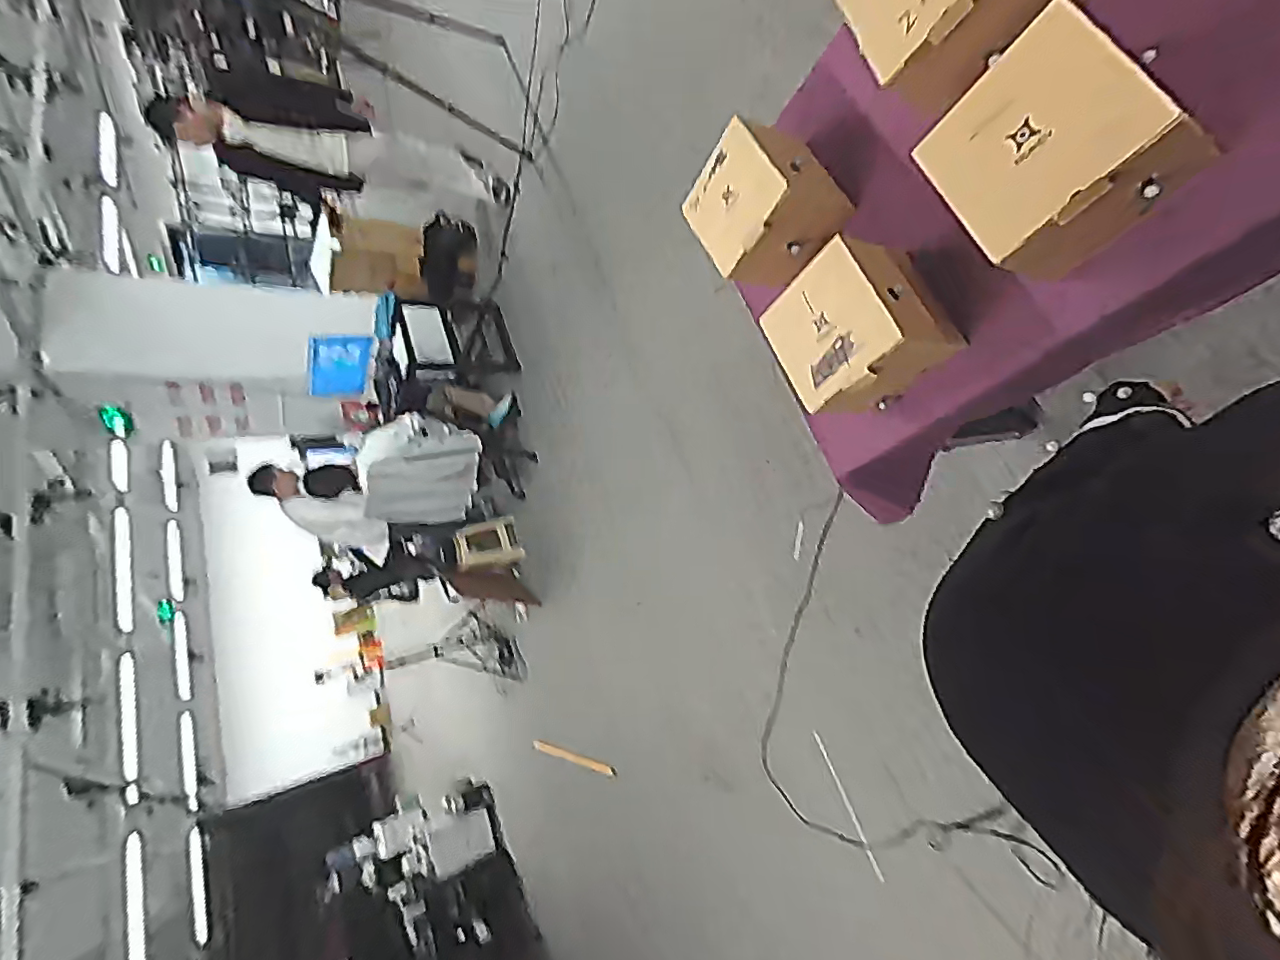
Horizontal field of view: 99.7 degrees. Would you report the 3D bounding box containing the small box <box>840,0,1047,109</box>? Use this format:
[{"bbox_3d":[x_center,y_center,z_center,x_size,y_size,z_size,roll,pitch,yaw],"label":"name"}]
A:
[{"bbox_3d":[0.369,-0.590,0.645,0.168,0.176,0.179,-35,69,52],"label":"small box"}]

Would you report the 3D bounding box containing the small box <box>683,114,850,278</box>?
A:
[{"bbox_3d":[0.209,-0.456,0.897,0.168,0.176,0.179,-49,58,46],"label":"small box"}]

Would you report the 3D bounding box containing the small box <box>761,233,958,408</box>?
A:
[{"bbox_3d":[0.317,-0.224,0.787,0.168,0.176,0.179,-45,59,48],"label":"small box"}]

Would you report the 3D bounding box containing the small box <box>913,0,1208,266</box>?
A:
[{"bbox_3d":[0.447,-0.354,0.582,0.168,0.176,0.179,-44,60,48],"label":"small box"}]
